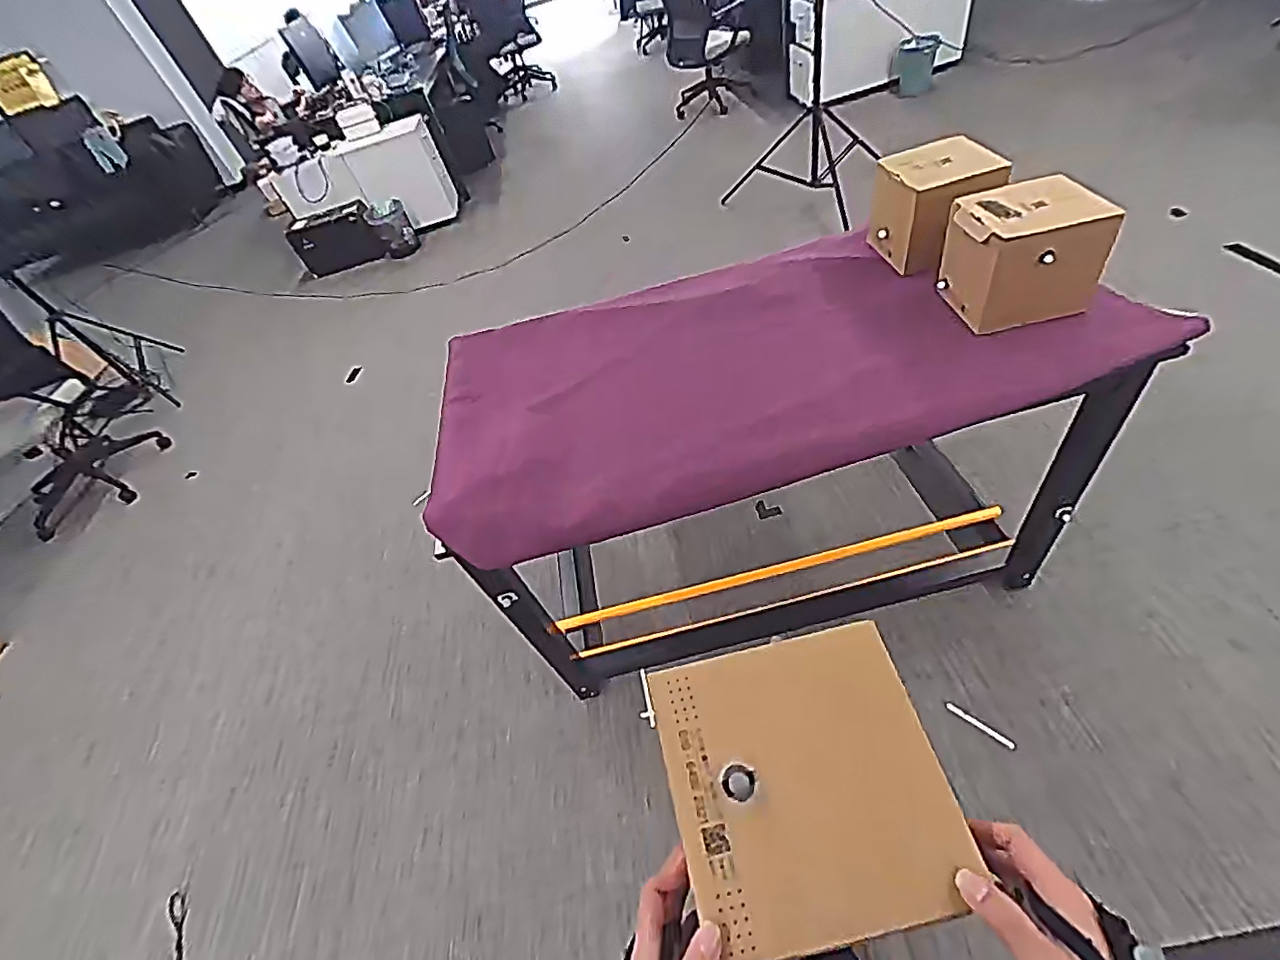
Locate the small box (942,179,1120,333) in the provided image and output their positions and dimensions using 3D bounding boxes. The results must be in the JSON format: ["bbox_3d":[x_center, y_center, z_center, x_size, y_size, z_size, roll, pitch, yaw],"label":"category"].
[{"bbox_3d":[0.632,-0.370,0.908,0.179,0.176,0.168,-11,46,7],"label":"small box"}]

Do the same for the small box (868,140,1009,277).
[{"bbox_3d":[0.574,-0.532,1.069,0.179,0.176,0.168,-16,48,3],"label":"small box"}]
